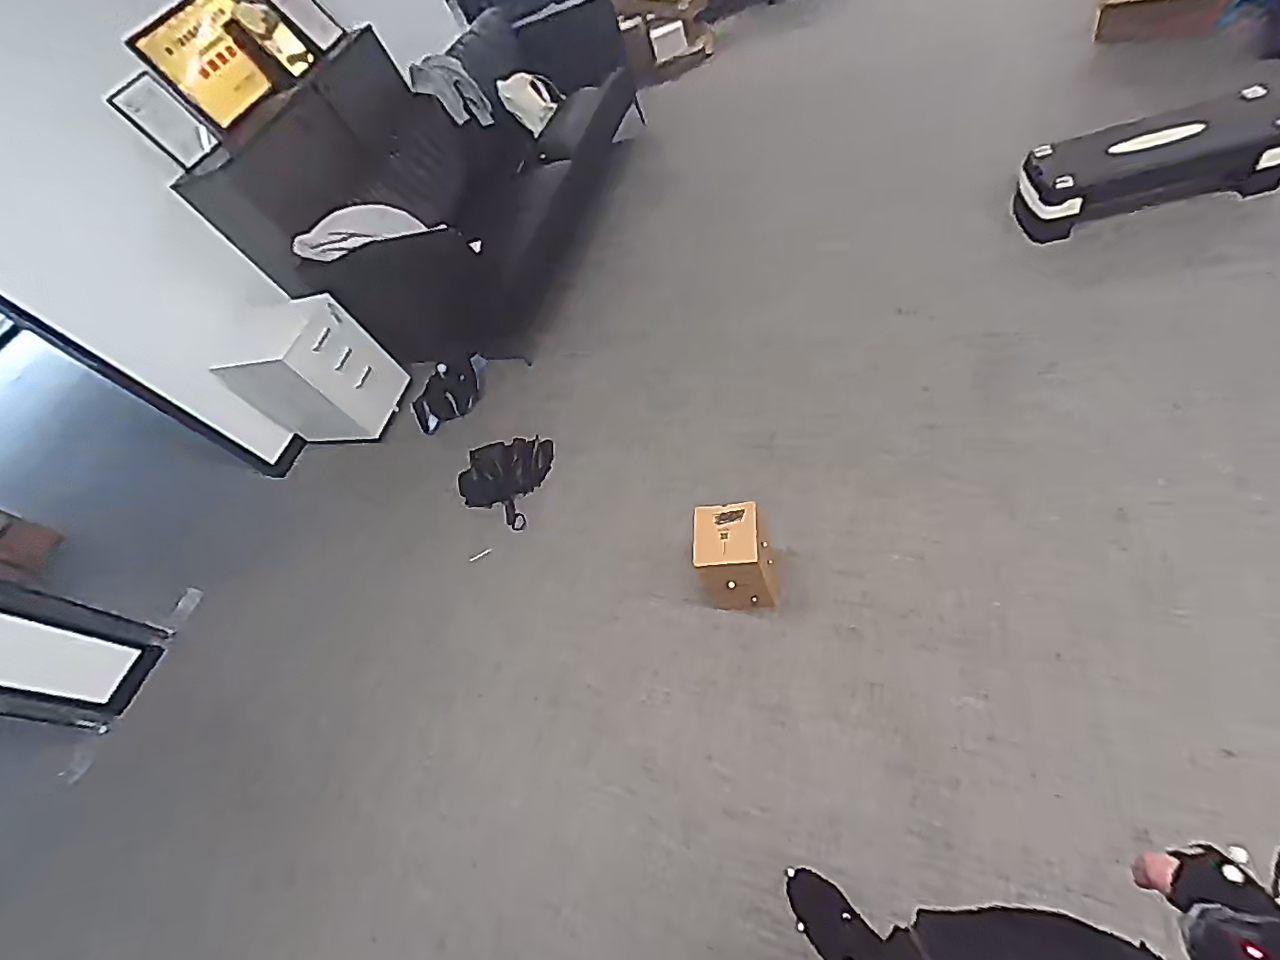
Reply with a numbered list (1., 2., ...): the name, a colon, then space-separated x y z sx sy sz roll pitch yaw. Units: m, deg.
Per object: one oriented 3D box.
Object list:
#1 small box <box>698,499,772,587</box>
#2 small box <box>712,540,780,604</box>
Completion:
1. small box: 0.258 0.173 1.447 0.168 0.176 0.179 -7 57 20
2. small box: 0.311 0.256 1.579 0.168 0.176 0.179 -8 54 19
